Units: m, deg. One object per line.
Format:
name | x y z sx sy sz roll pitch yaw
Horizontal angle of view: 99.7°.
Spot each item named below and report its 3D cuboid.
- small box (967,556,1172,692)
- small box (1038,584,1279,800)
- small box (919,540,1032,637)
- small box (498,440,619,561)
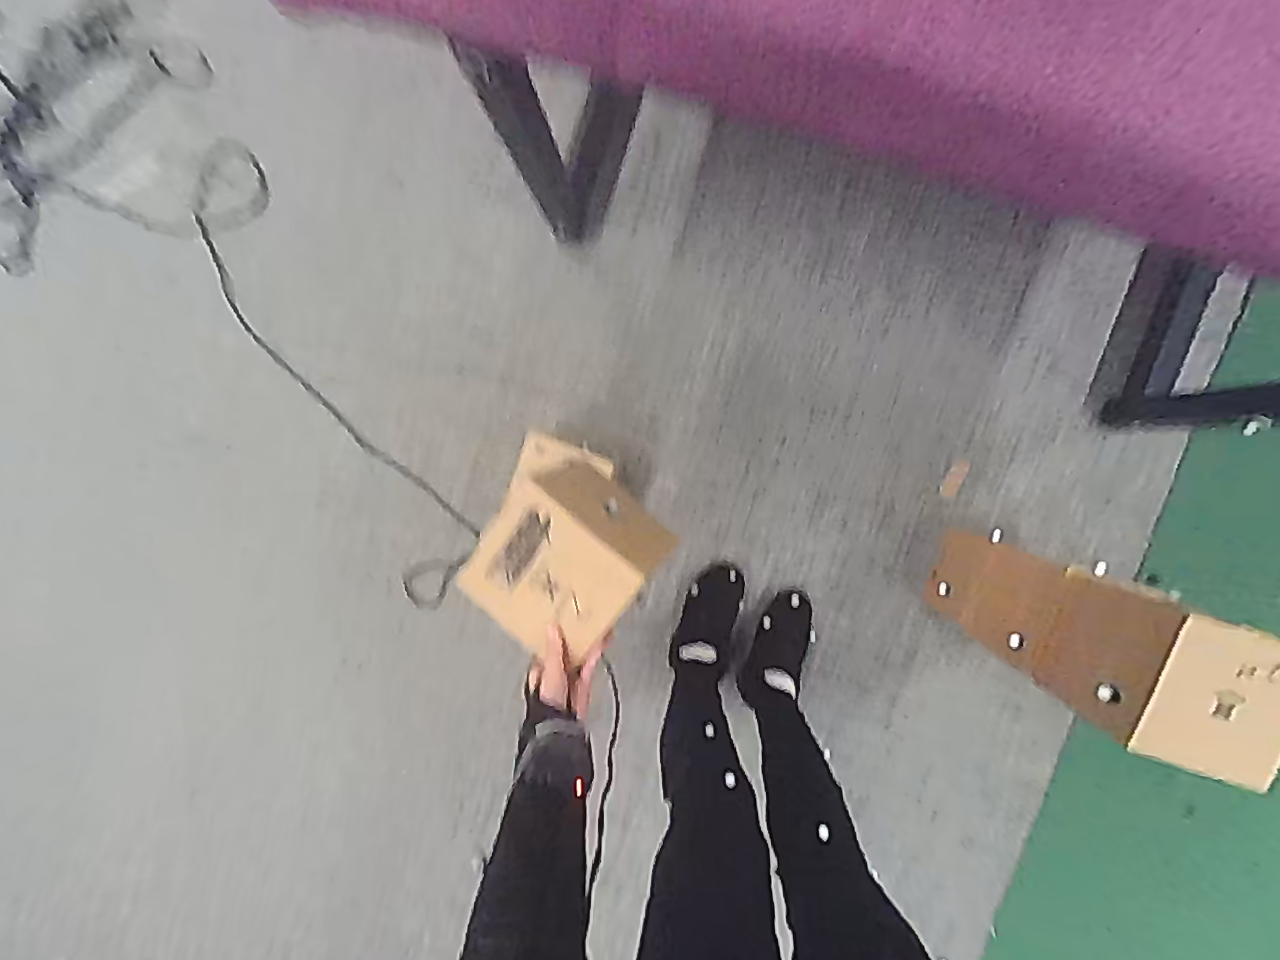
small box | 0.663 0.235 0.859 0.168 0.176 0.179 17 95 2
small box | 0.664 0.257 0.696 0.168 0.176 0.179 18 95 1
small box | 0.667 0.221 1.021 0.179 0.176 0.168 20 94 1
small box | -0.148 0.032 1.054 0.168 0.176 0.179 22 95 1
